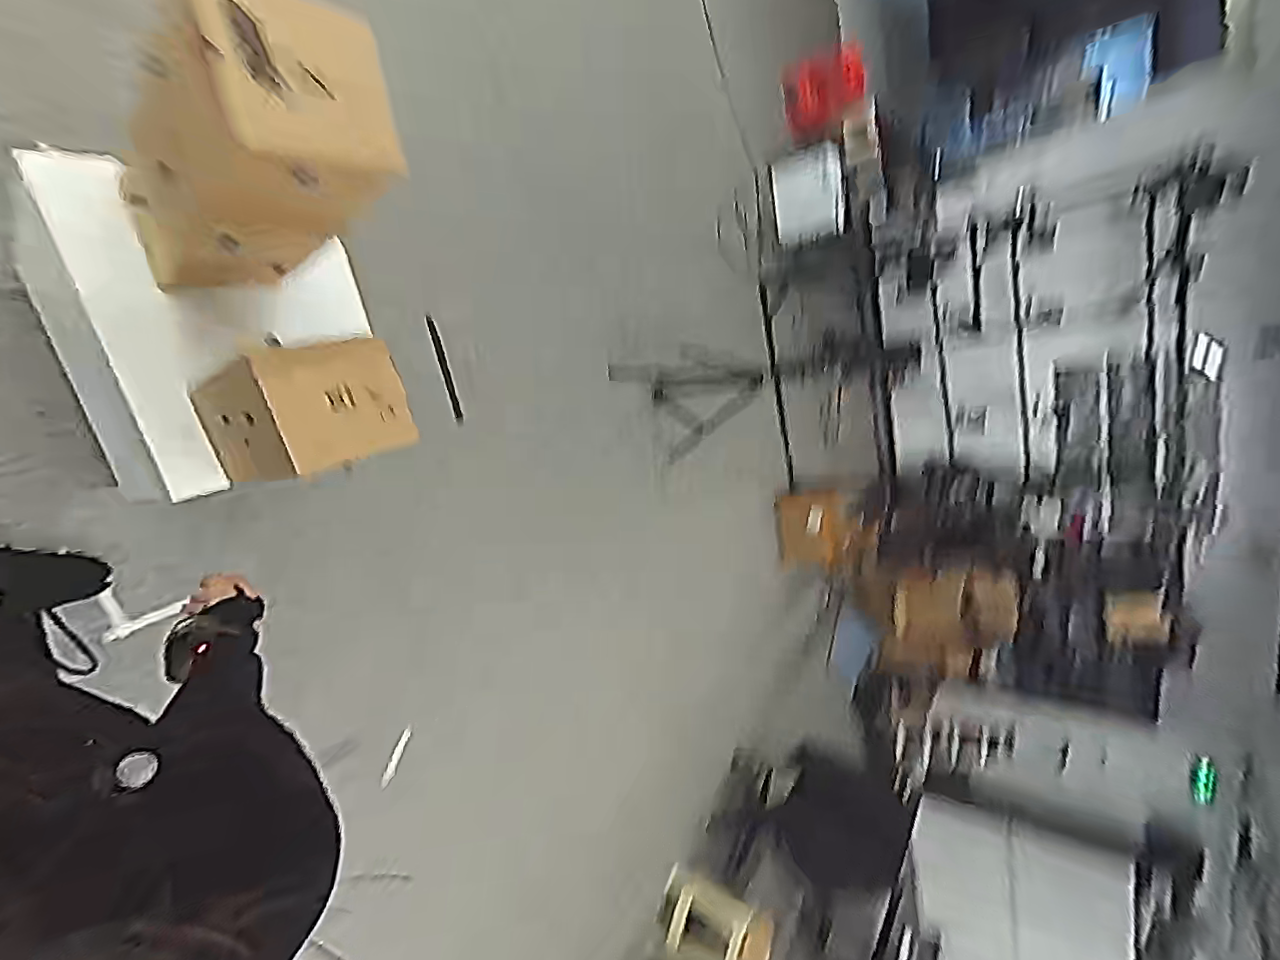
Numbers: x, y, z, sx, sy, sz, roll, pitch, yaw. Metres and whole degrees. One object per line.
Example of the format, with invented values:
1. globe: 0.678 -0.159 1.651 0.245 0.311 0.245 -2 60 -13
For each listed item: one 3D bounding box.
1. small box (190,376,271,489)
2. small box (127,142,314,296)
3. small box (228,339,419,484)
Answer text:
1. small box: -0.590 -0.091 0.892 0.179 0.176 0.168 -30 110 -47
2. small box: -0.650 -0.388 0.835 0.179 0.176 0.168 -26 109 -48
3. small box: -0.463 -0.096 0.786 0.179 0.176 0.168 -29 110 -47
